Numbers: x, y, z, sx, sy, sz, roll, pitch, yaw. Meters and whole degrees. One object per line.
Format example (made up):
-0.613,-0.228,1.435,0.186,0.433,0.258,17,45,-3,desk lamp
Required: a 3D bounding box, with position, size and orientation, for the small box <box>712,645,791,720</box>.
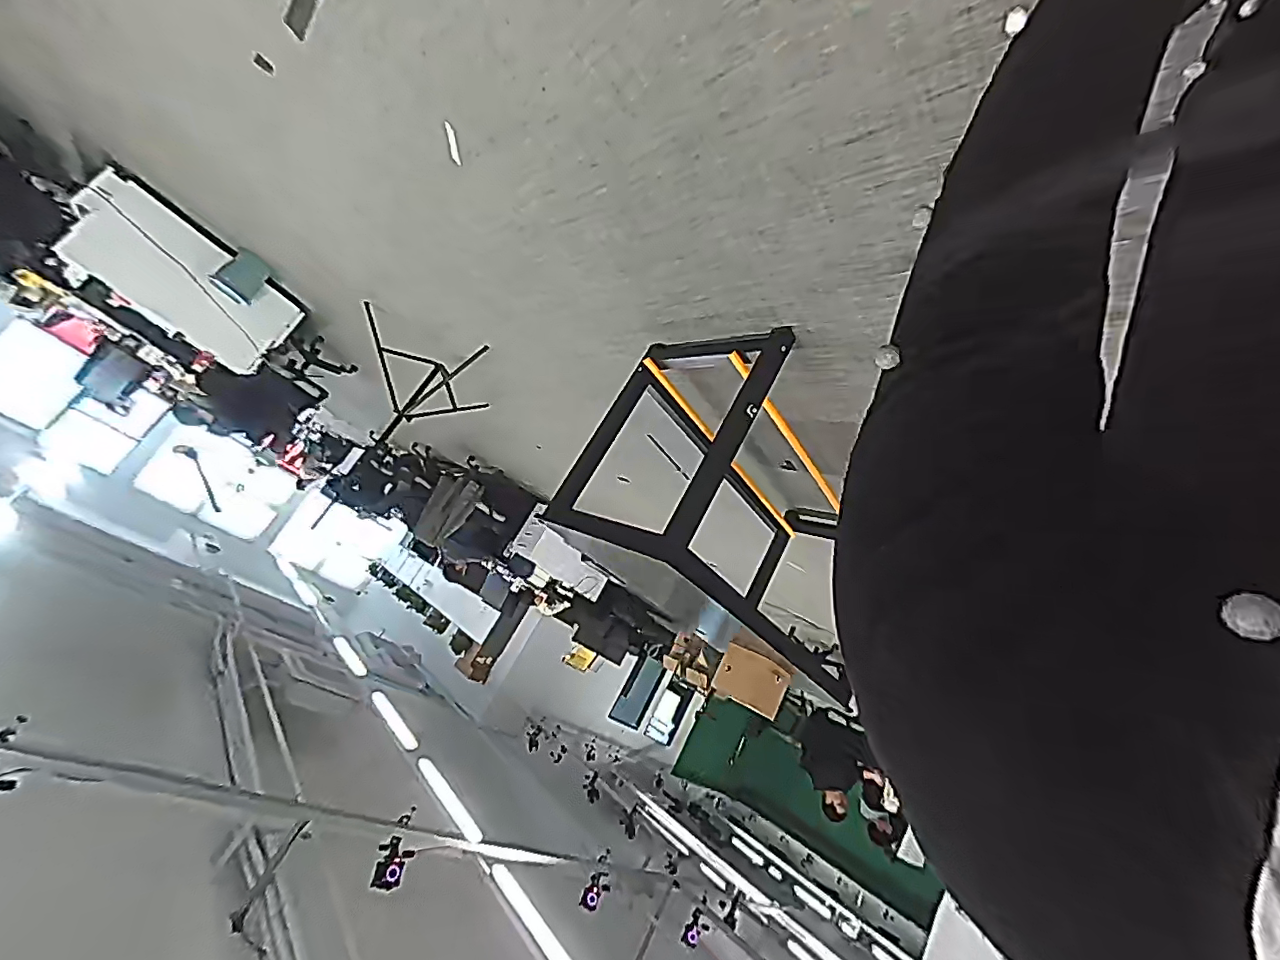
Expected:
0.389,0.692,1.867,0.168,0.176,0.179,40,160,-32,small box
